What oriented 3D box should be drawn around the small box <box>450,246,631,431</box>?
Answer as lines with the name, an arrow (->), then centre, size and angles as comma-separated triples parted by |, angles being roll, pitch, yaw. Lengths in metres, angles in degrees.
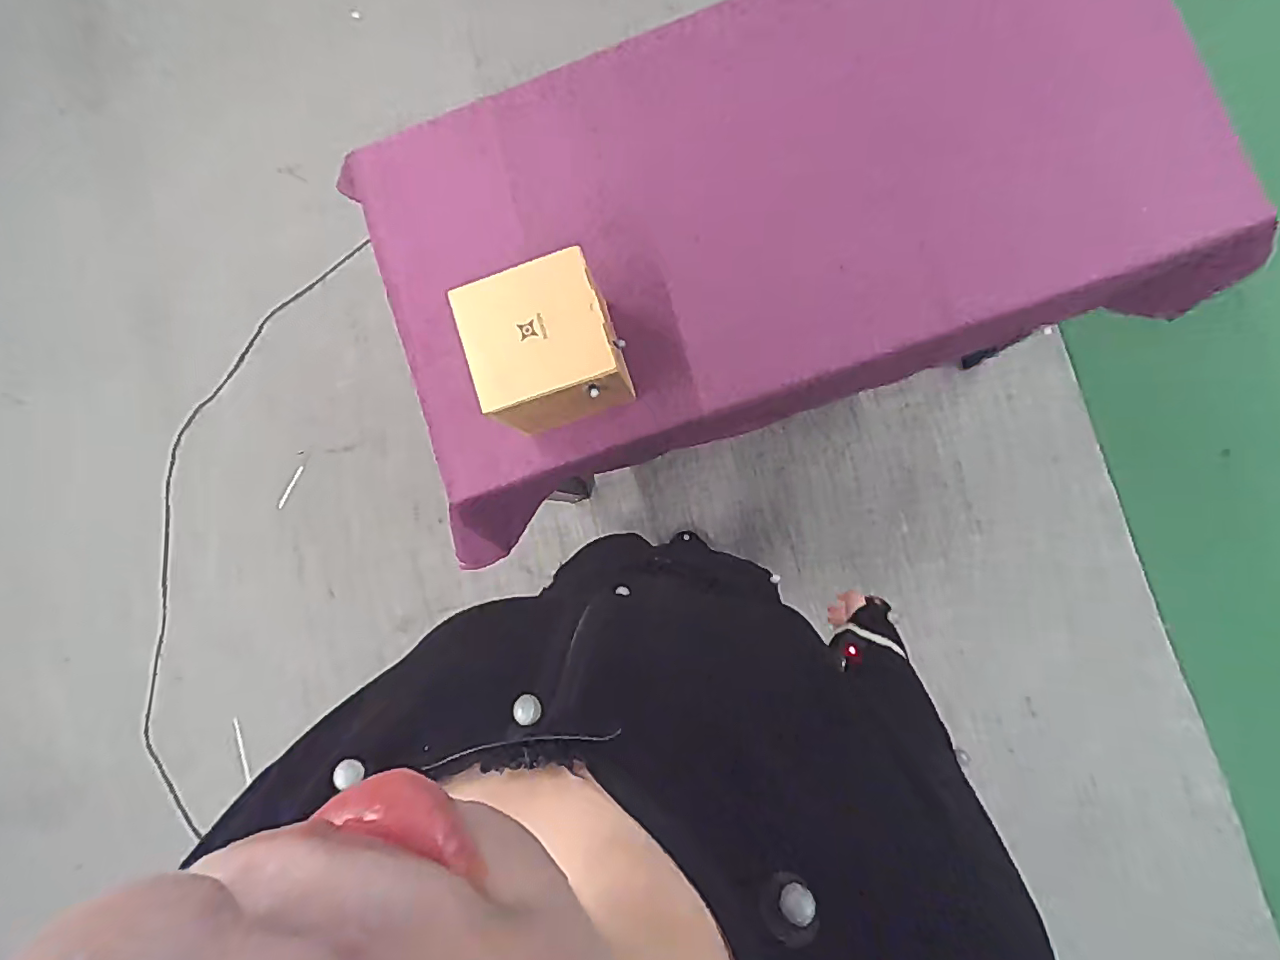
small box -> -0.124, -0.177, 0.736 | 0.179, 0.176, 0.168 | -18, 84, 3
